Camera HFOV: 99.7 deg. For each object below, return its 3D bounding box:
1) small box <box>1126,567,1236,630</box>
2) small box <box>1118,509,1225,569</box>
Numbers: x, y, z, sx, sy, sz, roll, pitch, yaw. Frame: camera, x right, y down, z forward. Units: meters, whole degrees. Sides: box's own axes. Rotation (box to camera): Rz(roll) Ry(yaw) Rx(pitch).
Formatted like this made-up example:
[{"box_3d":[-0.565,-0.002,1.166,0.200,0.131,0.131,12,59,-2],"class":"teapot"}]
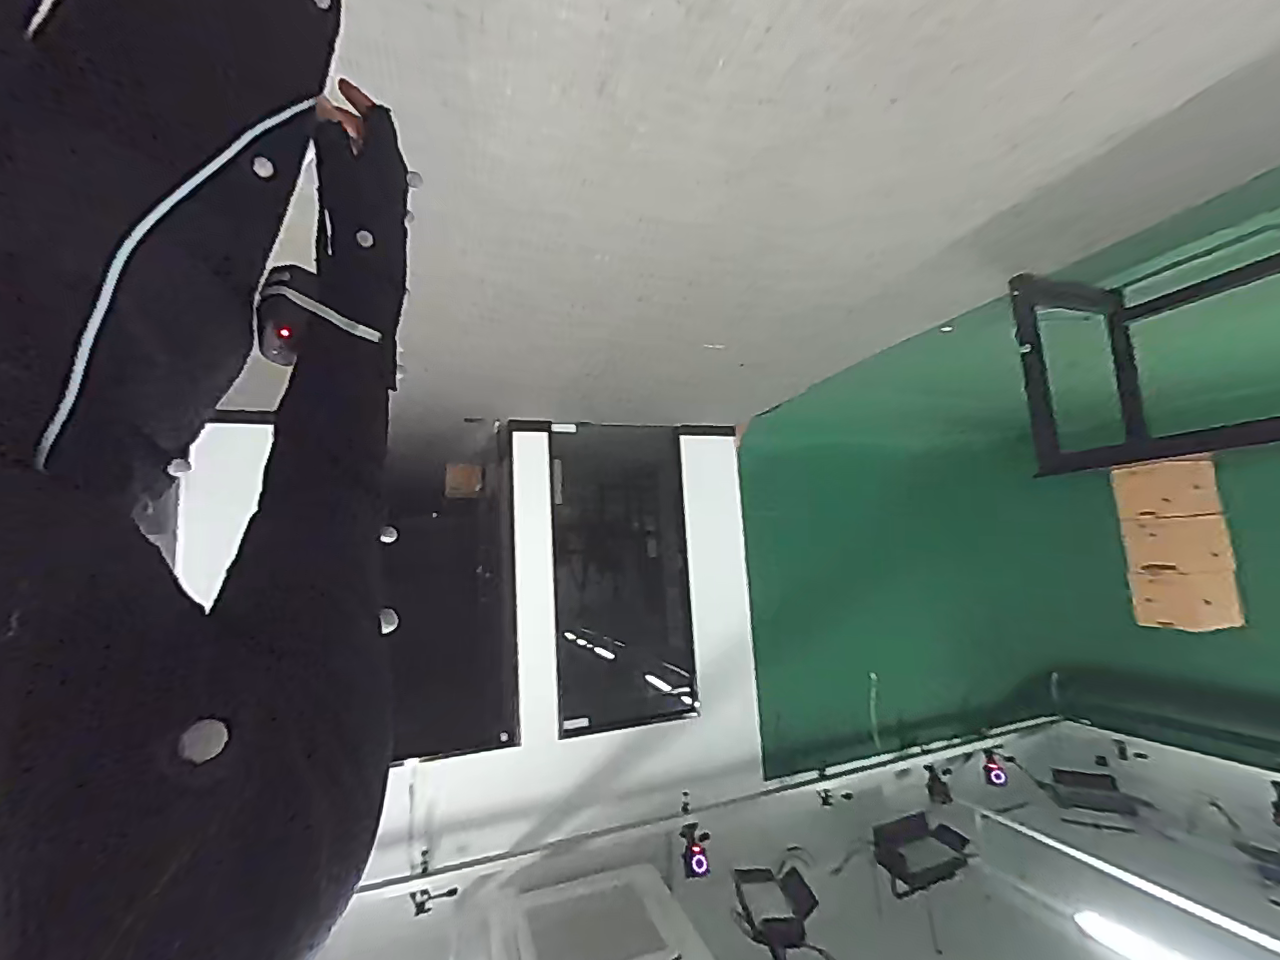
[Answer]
[{"box_3d":[1.653,0.360,1.662,0.179,0.176,0.168,-3,173,-14],"class":"small box"},{"box_3d":[1.643,0.181,1.678,0.179,0.176,0.168,-2,172,-14],"class":"small box"}]
